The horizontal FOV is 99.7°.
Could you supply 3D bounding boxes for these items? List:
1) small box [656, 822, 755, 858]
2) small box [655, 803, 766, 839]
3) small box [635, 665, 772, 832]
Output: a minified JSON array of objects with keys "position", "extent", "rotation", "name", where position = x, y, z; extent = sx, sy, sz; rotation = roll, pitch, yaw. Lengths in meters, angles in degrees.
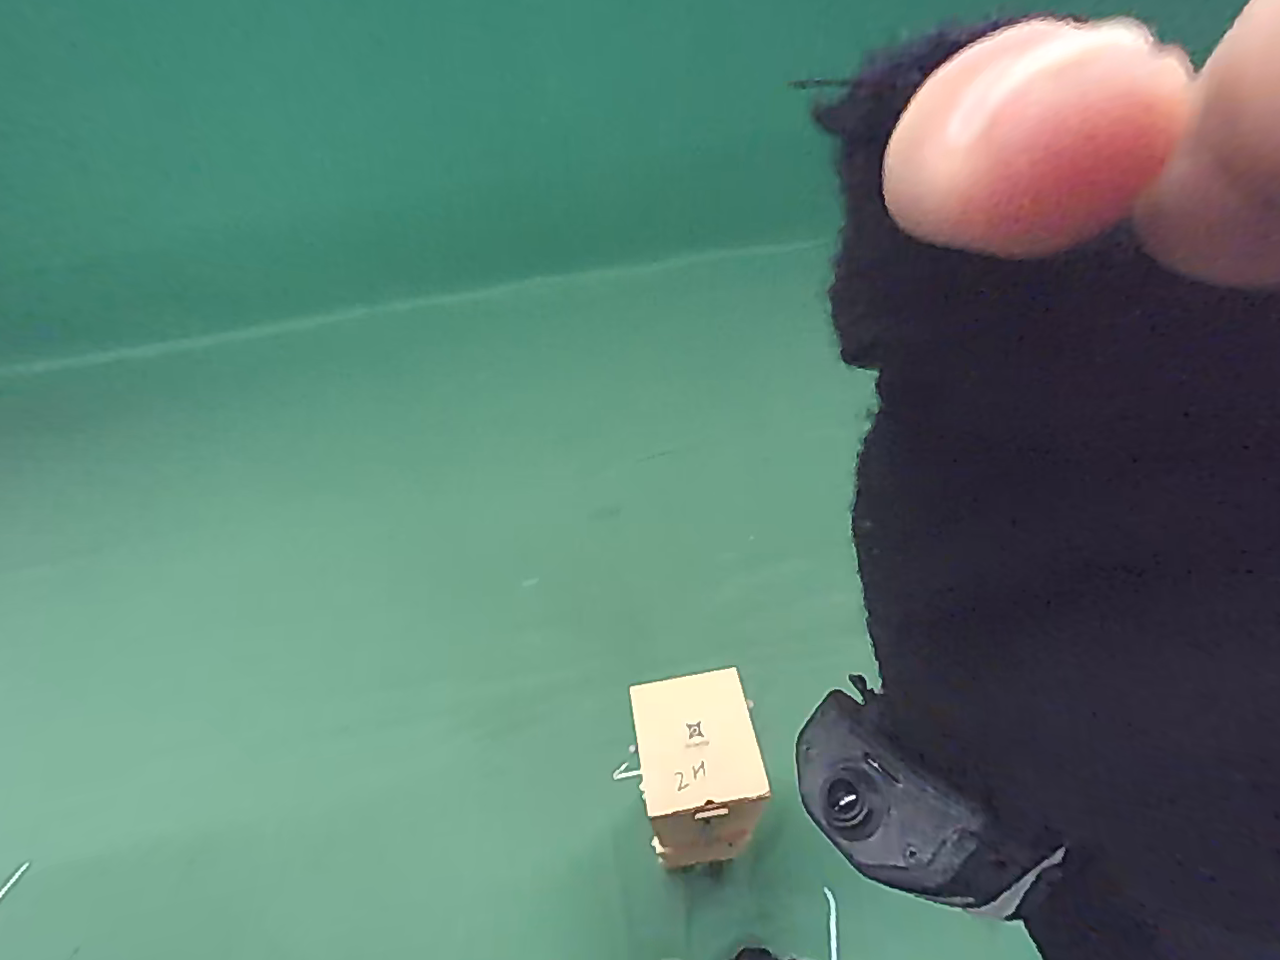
[{"position":[0.117,0.627,1.064],"extent":[0.179,0.176,0.168],"rotation":[-10,50,-2],"name":"small box"},{"position":[0.107,0.510,0.945],"extent":[0.179,0.176,0.168],"rotation":[-8,48,-1],"name":"small box"},{"position":[0.088,0.408,0.819],"extent":[0.168,0.176,0.179],"rotation":[-10,50,-2],"name":"small box"}]
